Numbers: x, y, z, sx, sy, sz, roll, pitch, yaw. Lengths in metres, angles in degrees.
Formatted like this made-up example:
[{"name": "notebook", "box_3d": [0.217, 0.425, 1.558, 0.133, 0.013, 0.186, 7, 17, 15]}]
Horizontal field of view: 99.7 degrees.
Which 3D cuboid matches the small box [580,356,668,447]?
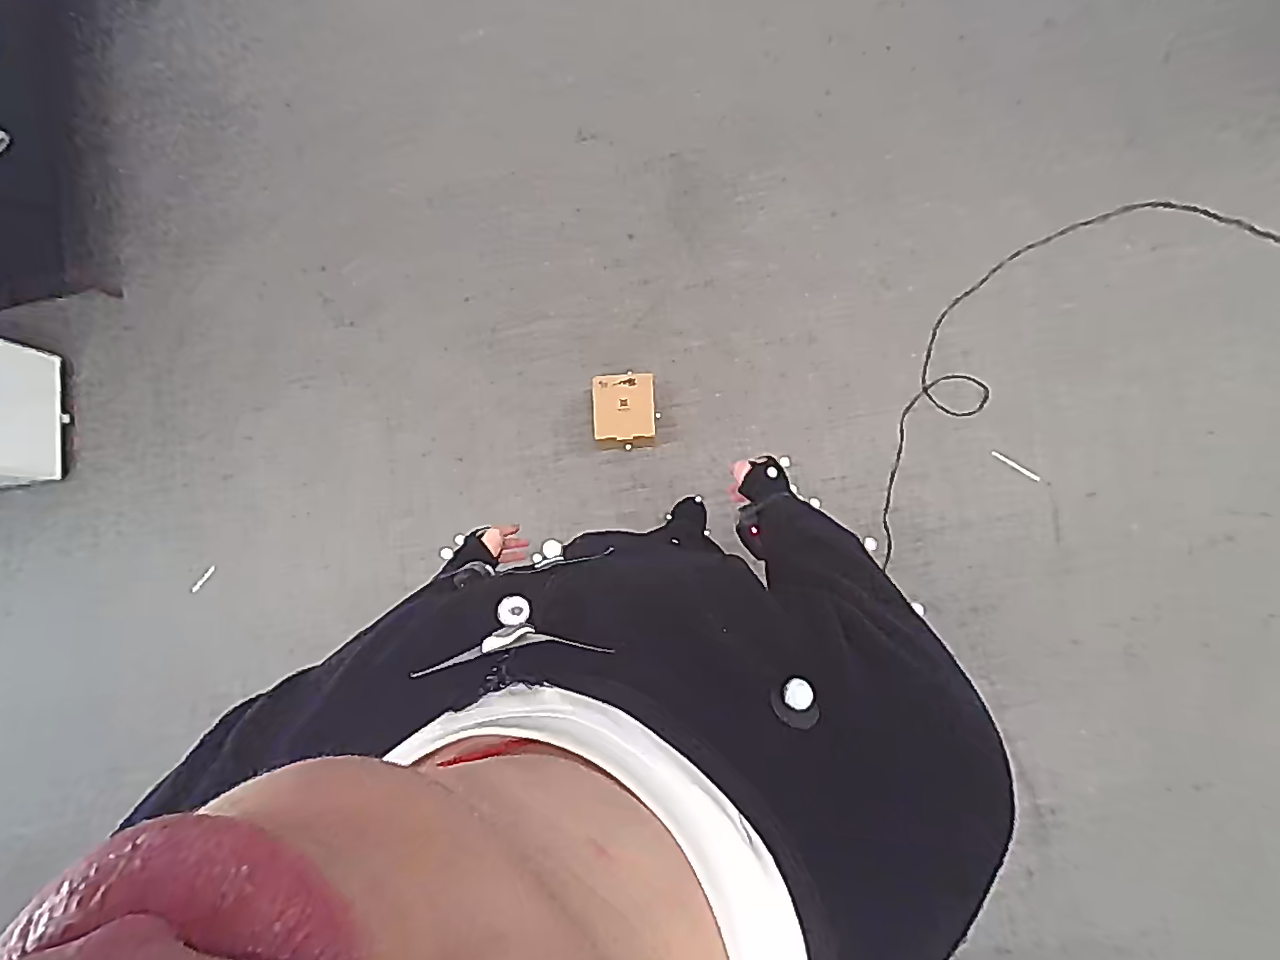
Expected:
[{"name": "small box", "box_3d": [-0.038, -0.212, 1.526, 0.179, 0.176, 0.168, -33, 80, 3]}]
